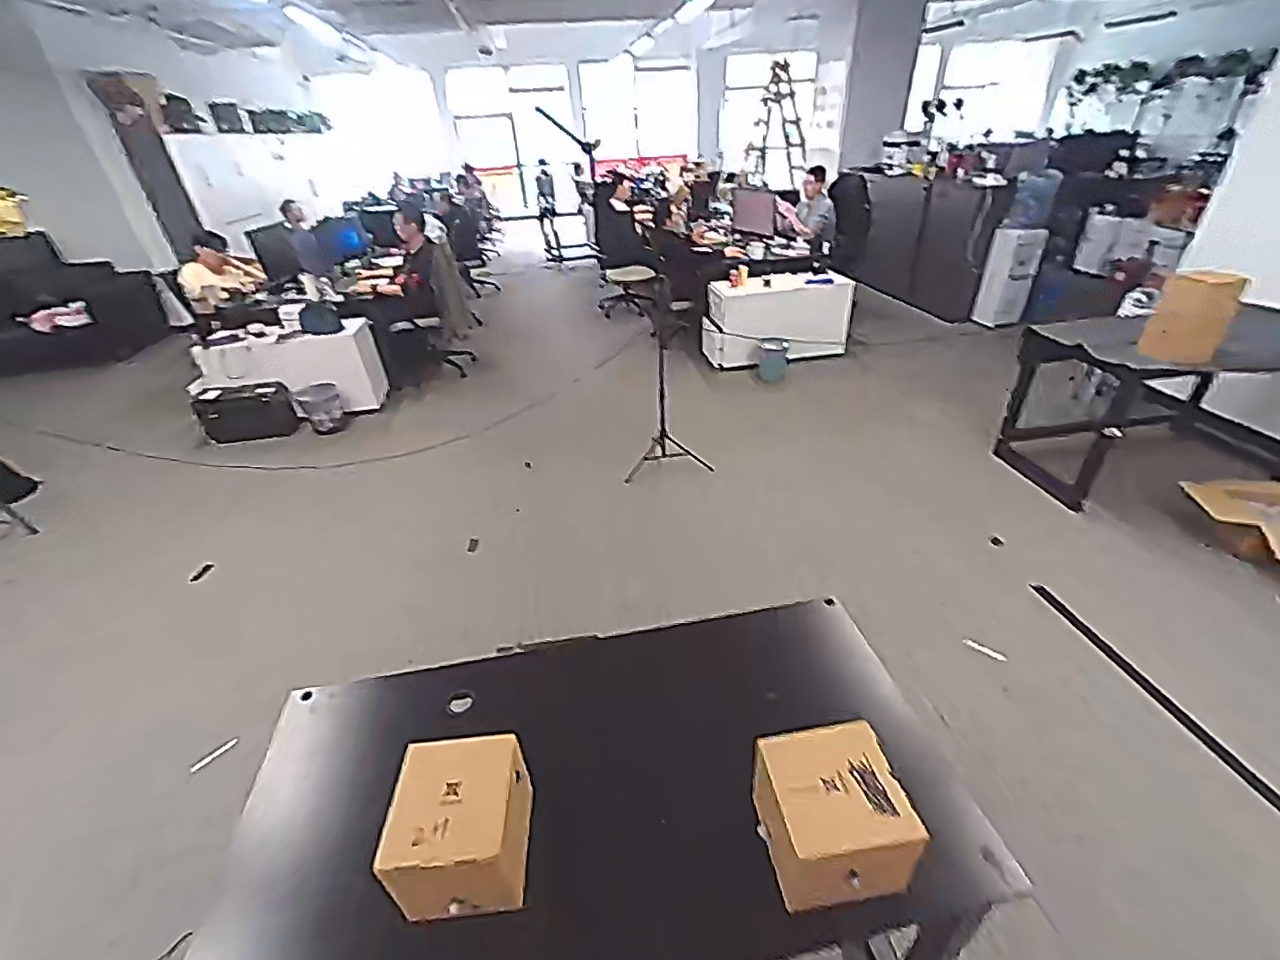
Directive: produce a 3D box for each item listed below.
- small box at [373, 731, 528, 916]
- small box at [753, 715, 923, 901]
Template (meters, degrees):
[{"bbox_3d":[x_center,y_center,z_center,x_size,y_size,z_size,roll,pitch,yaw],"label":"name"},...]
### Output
[{"bbox_3d":[-0.268,0.512,0.813,0.168,0.176,0.179,-6,33,-2],"label":"small box"},{"bbox_3d":[0.275,0.481,0.797,0.179,0.176,0.168,-8,33,-4],"label":"small box"}]
